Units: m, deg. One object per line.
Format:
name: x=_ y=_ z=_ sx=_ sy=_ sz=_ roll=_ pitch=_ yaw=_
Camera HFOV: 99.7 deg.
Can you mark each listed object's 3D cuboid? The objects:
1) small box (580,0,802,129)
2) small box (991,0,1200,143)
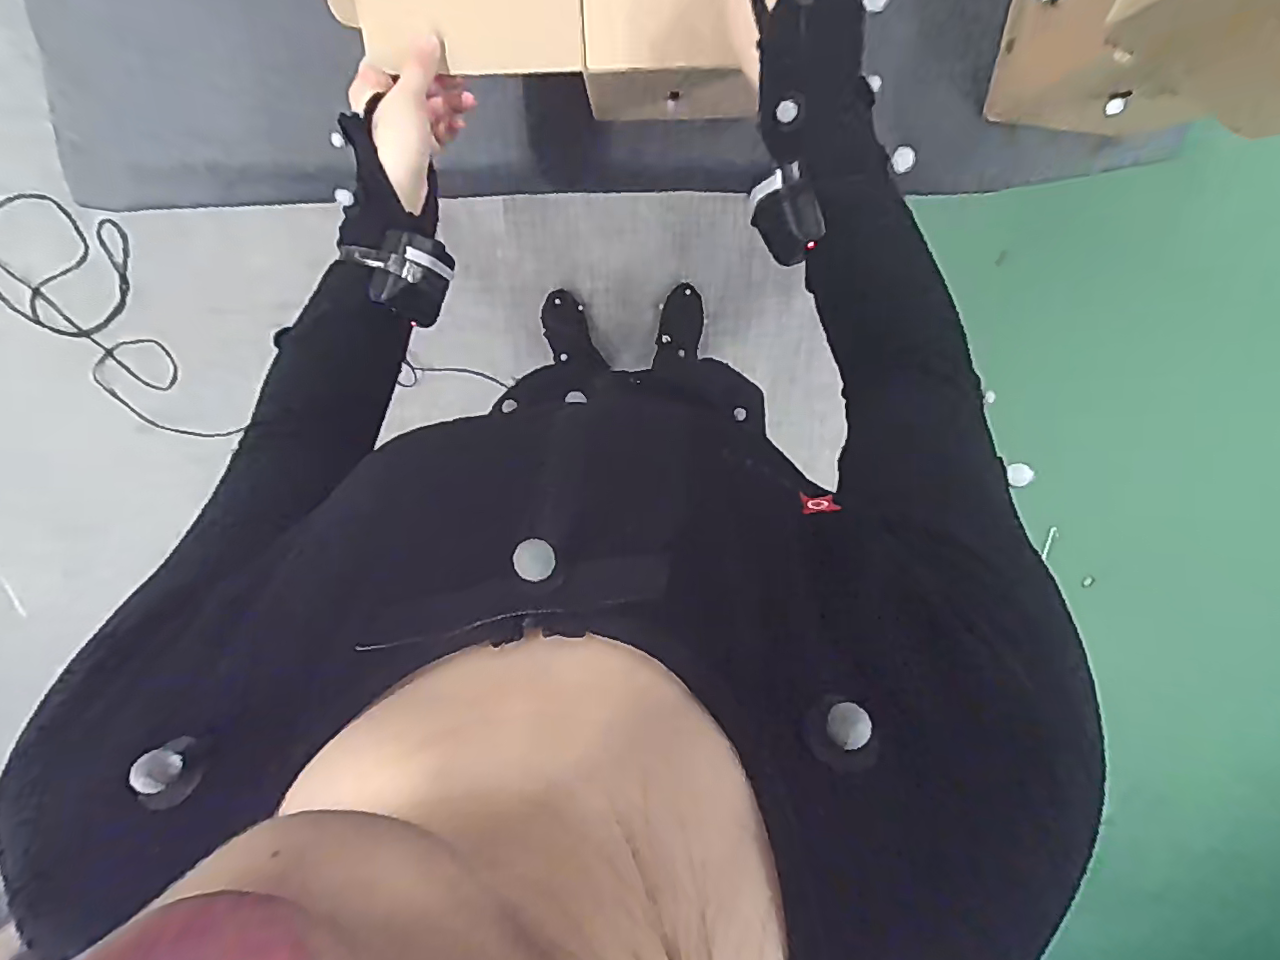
small box: x=0.038 y=-0.430 z=0.486 sx=0.179 sy=0.176 sz=0.168 roll=-1 pitch=112 yaw=0
small box: x=0.472 y=-0.430 z=0.498 sx=0.179 sy=0.176 sz=0.168 roll=5 pitch=109 yaw=-3
